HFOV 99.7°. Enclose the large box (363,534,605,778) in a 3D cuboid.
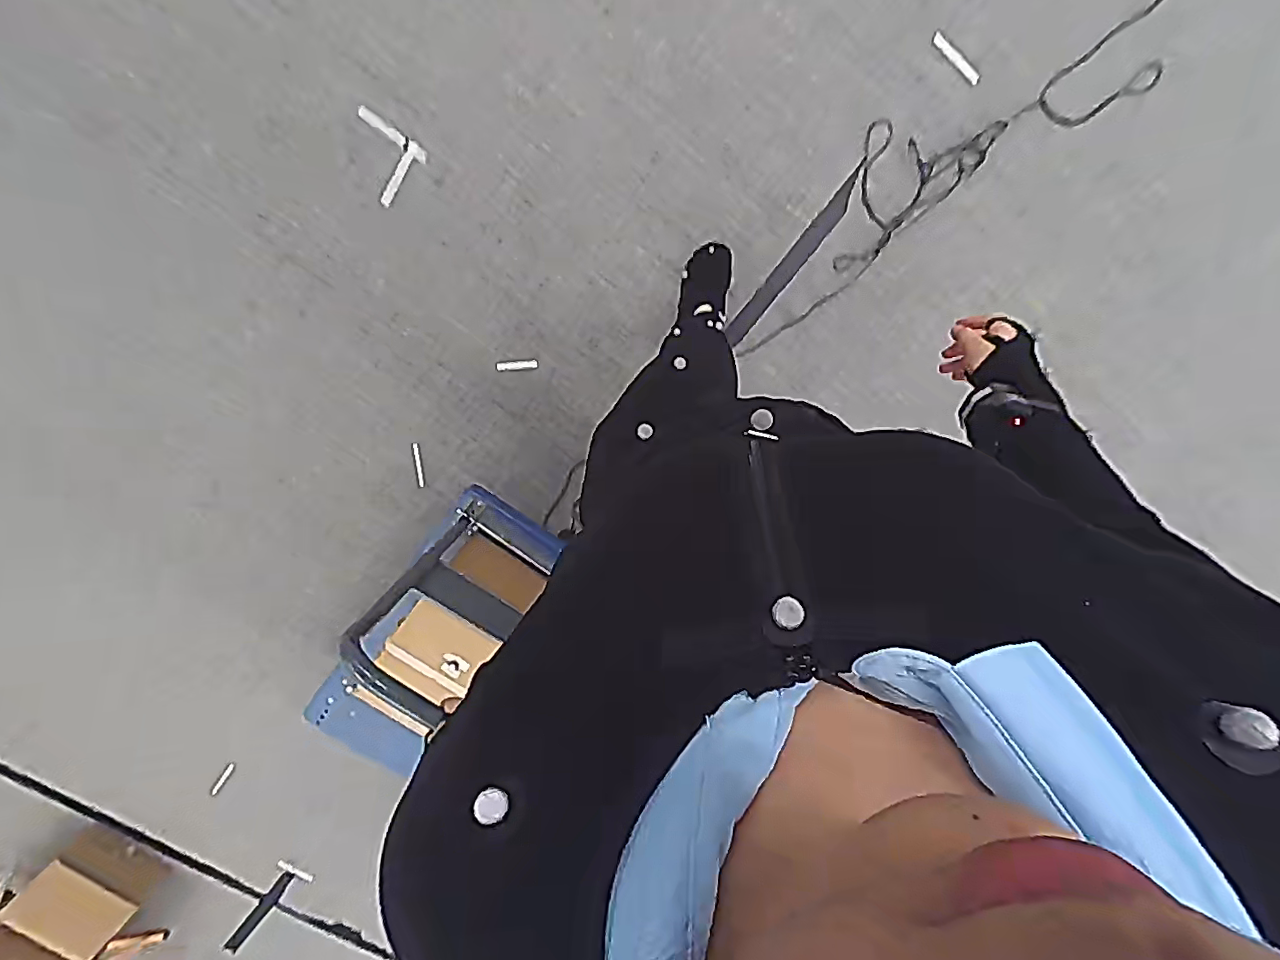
[{"bbox_3d":[-0.340,0.401,1.292,0.408,0.320,0.320,37,103,-8],"label":"large box"}]
